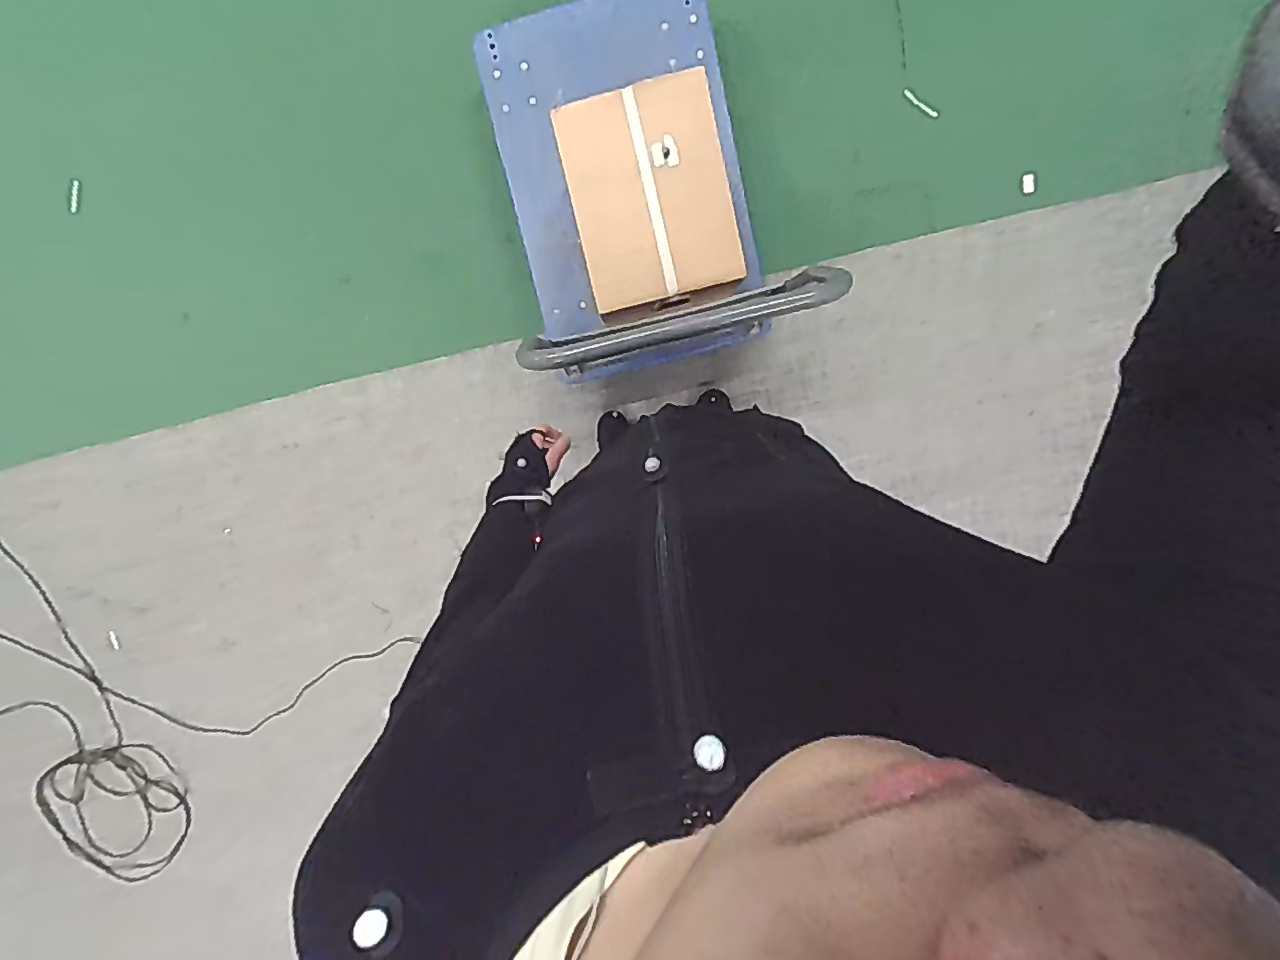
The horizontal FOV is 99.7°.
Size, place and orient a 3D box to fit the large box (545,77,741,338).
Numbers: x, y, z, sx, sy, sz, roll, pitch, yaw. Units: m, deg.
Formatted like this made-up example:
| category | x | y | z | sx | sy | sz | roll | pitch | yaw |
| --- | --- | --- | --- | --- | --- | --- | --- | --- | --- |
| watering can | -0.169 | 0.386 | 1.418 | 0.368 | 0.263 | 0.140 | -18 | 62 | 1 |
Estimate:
| category | x | y | z | sx | sy | sz | roll | pitch | yaw |
| --- | --- | --- | --- | --- | --- | --- | --- | --- | --- |
| large box | 0.013 | -0.576 | 1.228 | 0.320 | 0.320 | 0.408 | -14 | 96 | 2 |
